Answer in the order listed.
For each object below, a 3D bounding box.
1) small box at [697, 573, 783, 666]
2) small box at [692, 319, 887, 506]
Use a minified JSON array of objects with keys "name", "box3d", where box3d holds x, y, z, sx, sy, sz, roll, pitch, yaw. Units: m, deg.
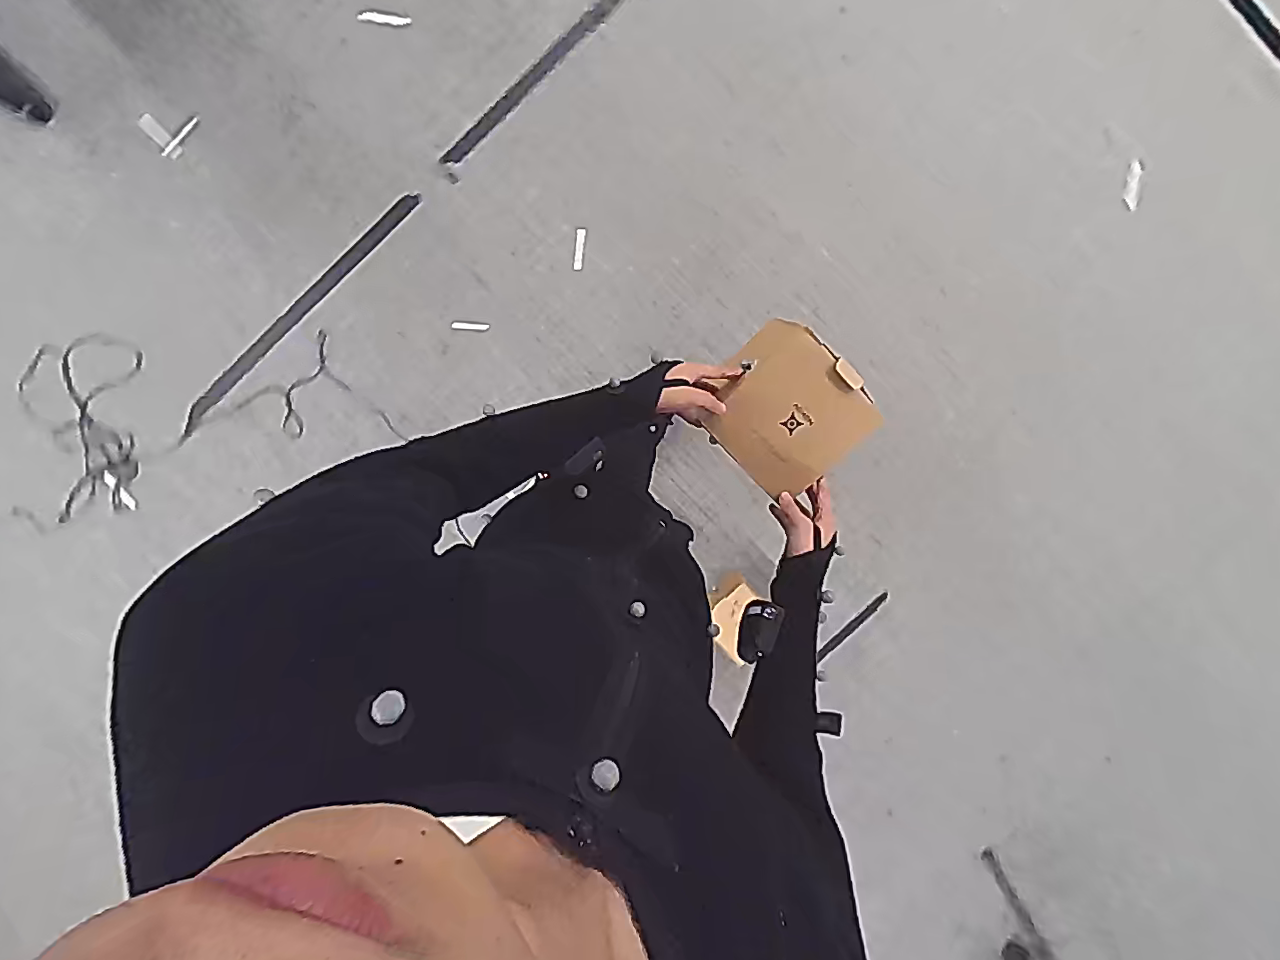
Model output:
[{"name":"small box","box3d":[0.283,0.395,1.566,0.168,0.176,0.179,-42,92,4]},{"name":"small box","box3d":[0.189,-0.102,0.742,0.168,0.176,0.179,43,103,-14]}]
